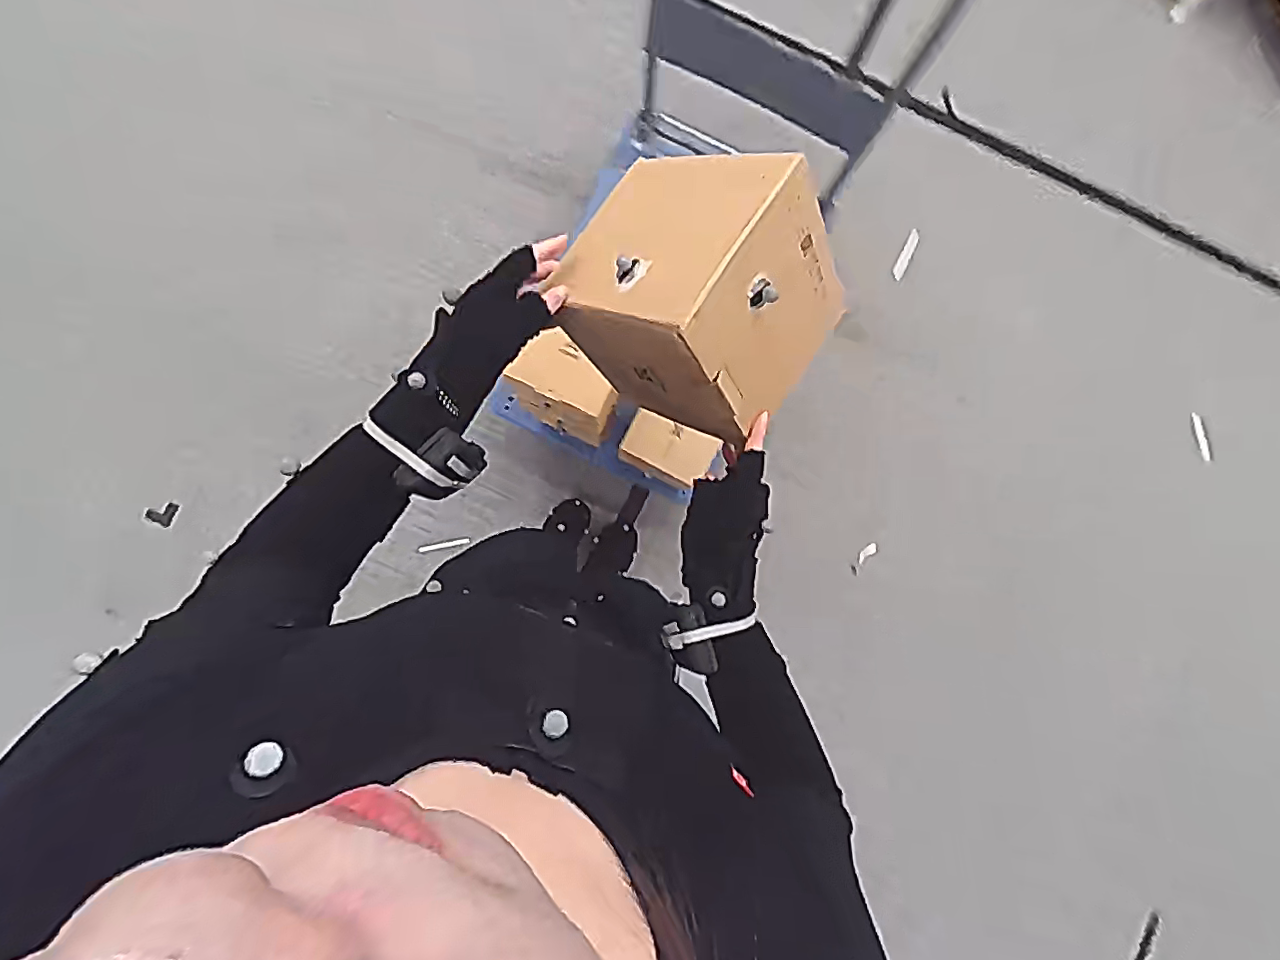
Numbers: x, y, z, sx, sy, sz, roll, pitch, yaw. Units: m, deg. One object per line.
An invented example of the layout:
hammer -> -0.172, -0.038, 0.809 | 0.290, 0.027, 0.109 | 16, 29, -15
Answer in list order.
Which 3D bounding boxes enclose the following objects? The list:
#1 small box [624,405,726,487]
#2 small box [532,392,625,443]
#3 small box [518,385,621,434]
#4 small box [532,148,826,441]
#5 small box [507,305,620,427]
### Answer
small box -> 0.074, -0.098, 1.084 | 0.168, 0.176, 0.179 | 28, 87, -1
small box -> -0.128, -0.197, 1.243 | 0.168, 0.176, 0.179 | 25, 86, -2
small box -> -0.122, -0.203, 1.079 | 0.168, 0.176, 0.179 | 23, 88, -2
small box -> 0.046, -0.165, 0.482 | 0.179, 0.168, 0.176 | 28, 81, 39
small box -> -0.103, -0.208, 0.916 | 0.168, 0.176, 0.179 | 26, 87, -2
